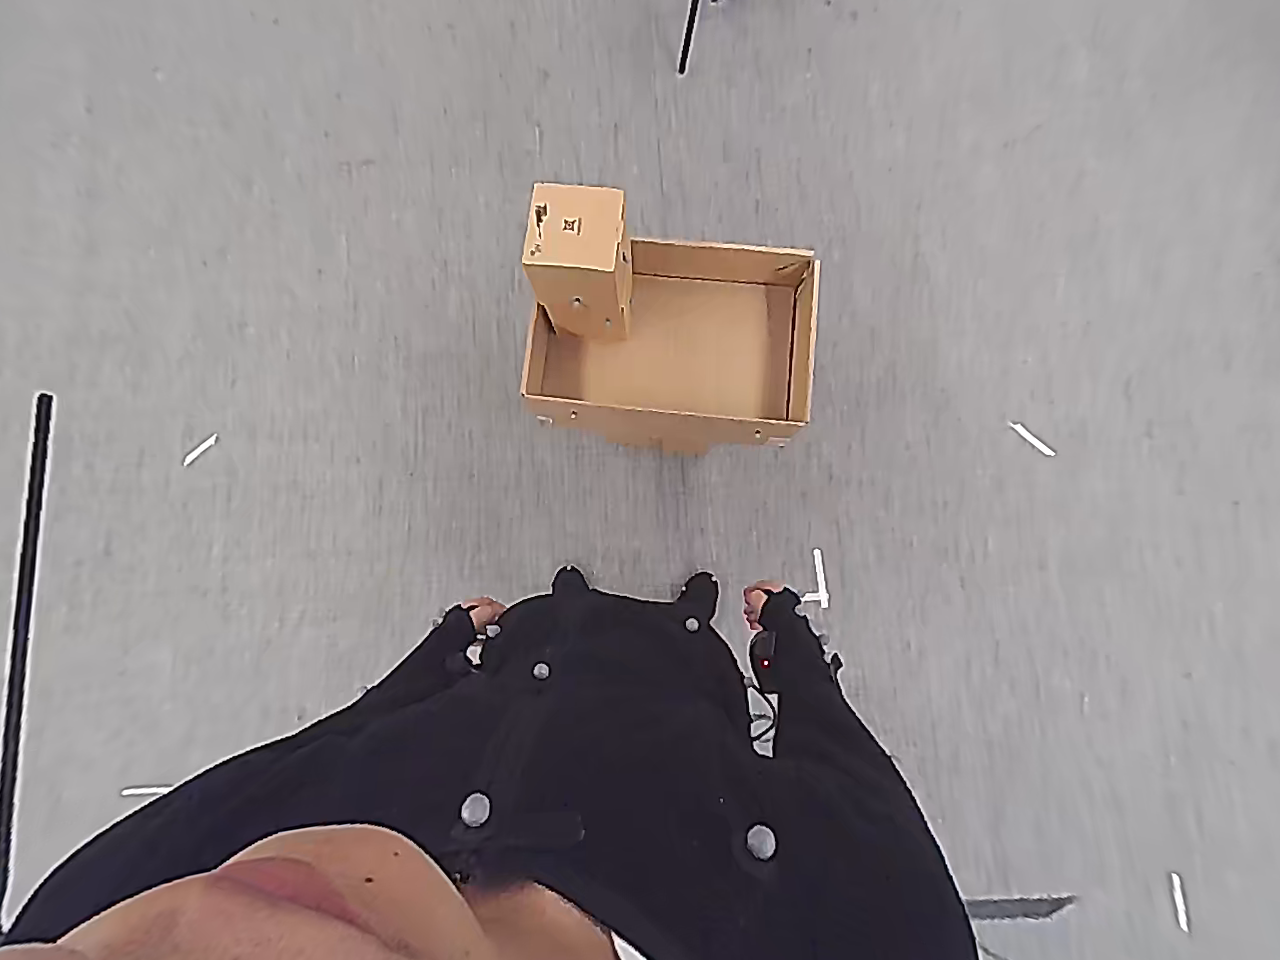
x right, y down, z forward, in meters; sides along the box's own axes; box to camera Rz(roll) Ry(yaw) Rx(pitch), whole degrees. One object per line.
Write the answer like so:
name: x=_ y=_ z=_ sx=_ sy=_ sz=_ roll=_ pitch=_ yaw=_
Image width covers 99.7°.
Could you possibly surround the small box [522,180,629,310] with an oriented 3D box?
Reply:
small box: x=-0.117 y=-0.450 z=1.061 sx=0.179 sy=0.176 sz=0.168 roll=7 pitch=81 yaw=2
